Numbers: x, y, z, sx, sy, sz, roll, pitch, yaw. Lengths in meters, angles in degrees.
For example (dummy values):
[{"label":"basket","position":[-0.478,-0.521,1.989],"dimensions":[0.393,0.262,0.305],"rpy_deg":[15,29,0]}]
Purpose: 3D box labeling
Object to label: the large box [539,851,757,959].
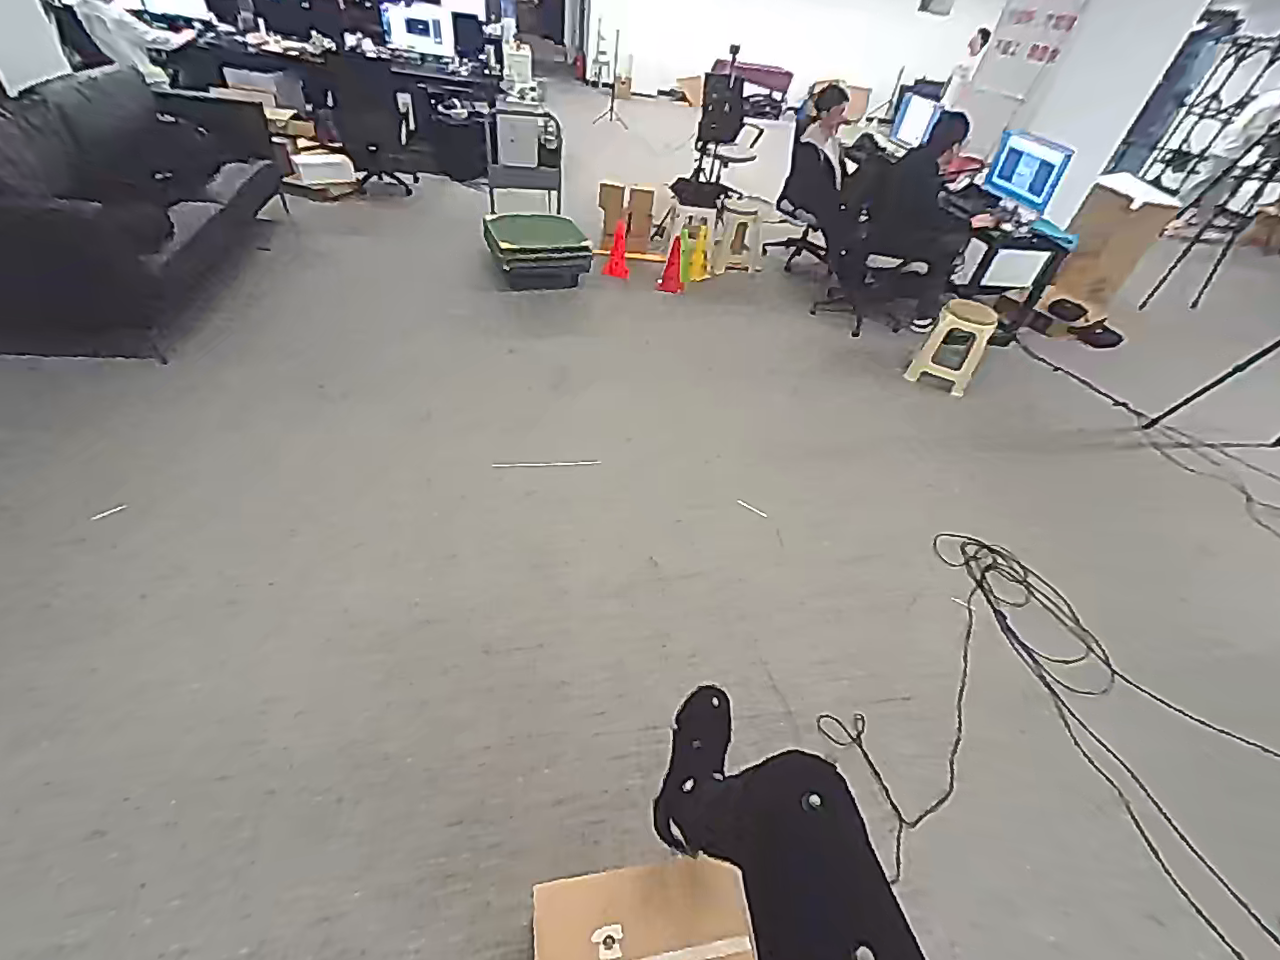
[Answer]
[{"label":"large box","position":[0.011,1.011,1.096],"dimensions":[0.408,0.320,0.320],"rpy_deg":[-3,42,-12]}]
